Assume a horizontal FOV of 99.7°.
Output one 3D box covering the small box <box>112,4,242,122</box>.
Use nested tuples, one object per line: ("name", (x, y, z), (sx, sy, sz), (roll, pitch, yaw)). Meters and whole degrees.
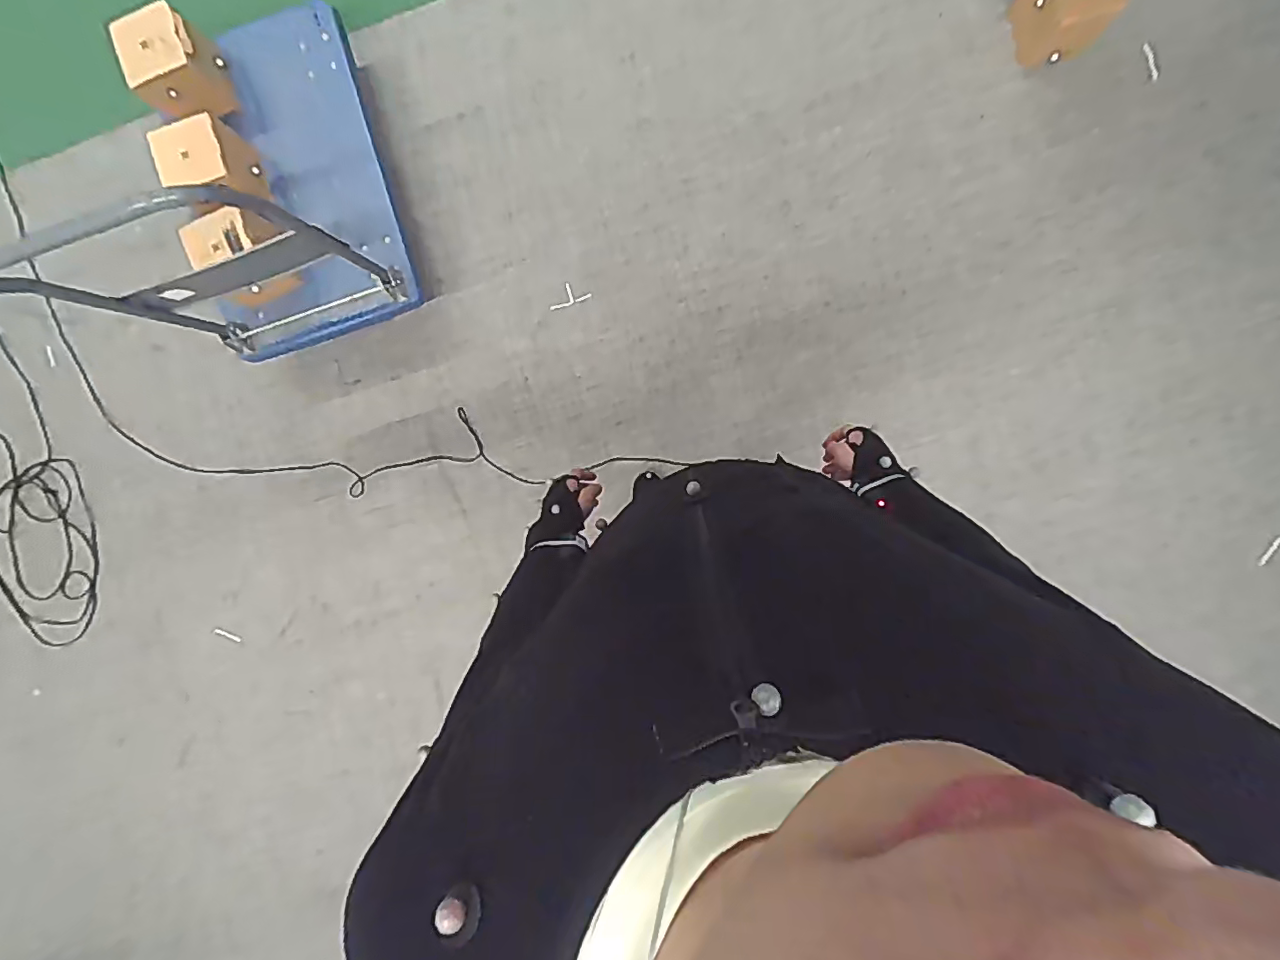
("small box", (-1.215, -1.085, 1.431), (0.179, 0.176, 0.168), (-17, 92, 4))

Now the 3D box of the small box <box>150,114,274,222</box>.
("small box", (-1.130, -0.818, 1.440), (0.179, 0.176, 0.168), (-16, 91, 3))

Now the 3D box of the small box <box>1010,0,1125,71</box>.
("small box", (1.127, -1.250, 1.441), (0.168, 0.176, 0.179), (-12, 91, 5))
